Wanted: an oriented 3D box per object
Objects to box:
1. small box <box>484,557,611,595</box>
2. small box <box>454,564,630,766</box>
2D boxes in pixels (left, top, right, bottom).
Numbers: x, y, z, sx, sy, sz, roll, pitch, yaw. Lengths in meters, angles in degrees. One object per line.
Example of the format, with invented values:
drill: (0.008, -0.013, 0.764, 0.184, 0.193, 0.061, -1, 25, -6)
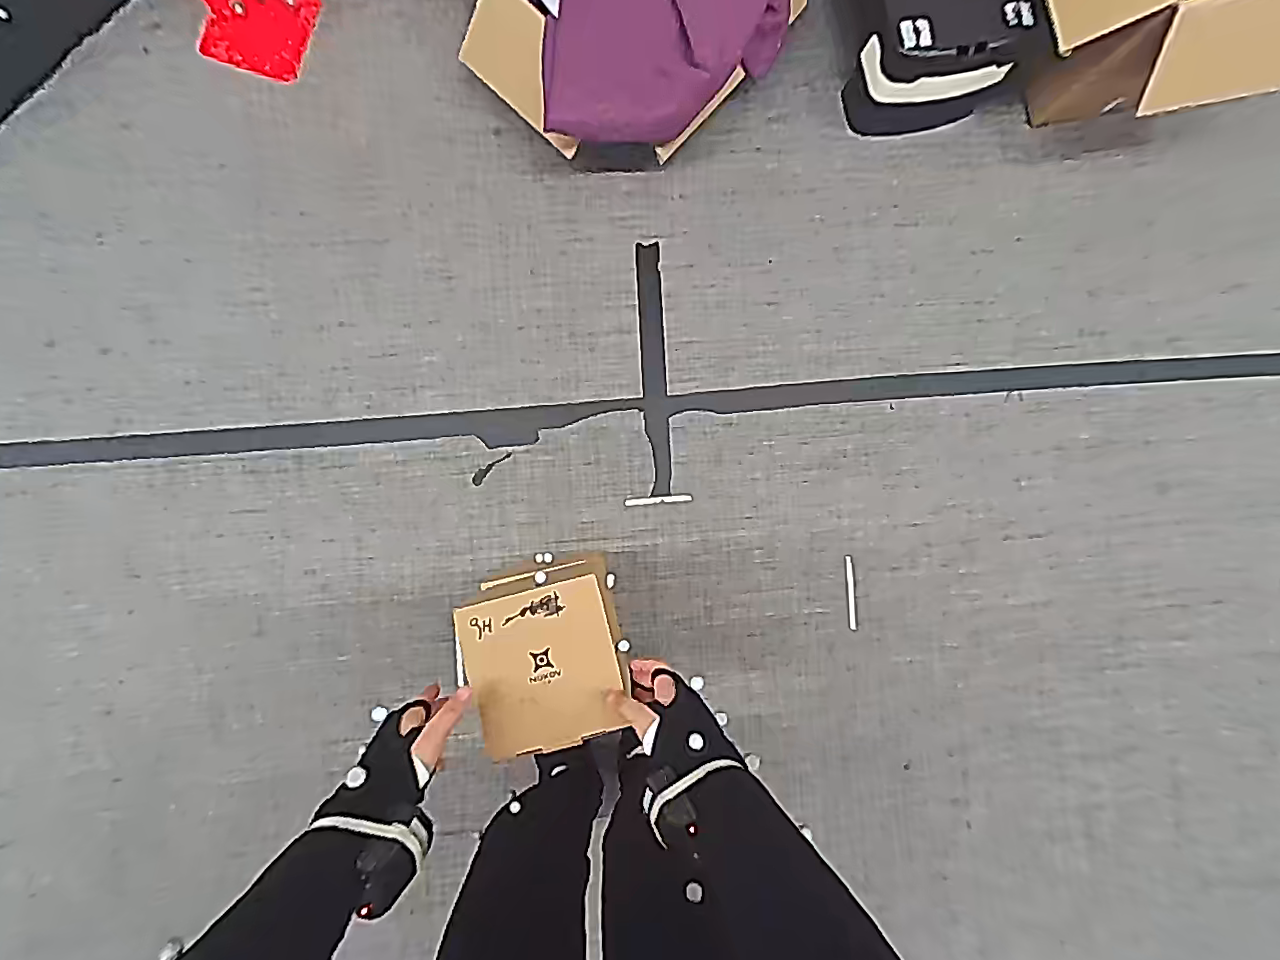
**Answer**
small box: (-0.127, 0.221, 0.840, 0.168, 0.176, 0.179, -12, 88, -2)
small box: (-0.109, 0.215, 0.677, 0.168, 0.176, 0.179, -14, 88, -2)
